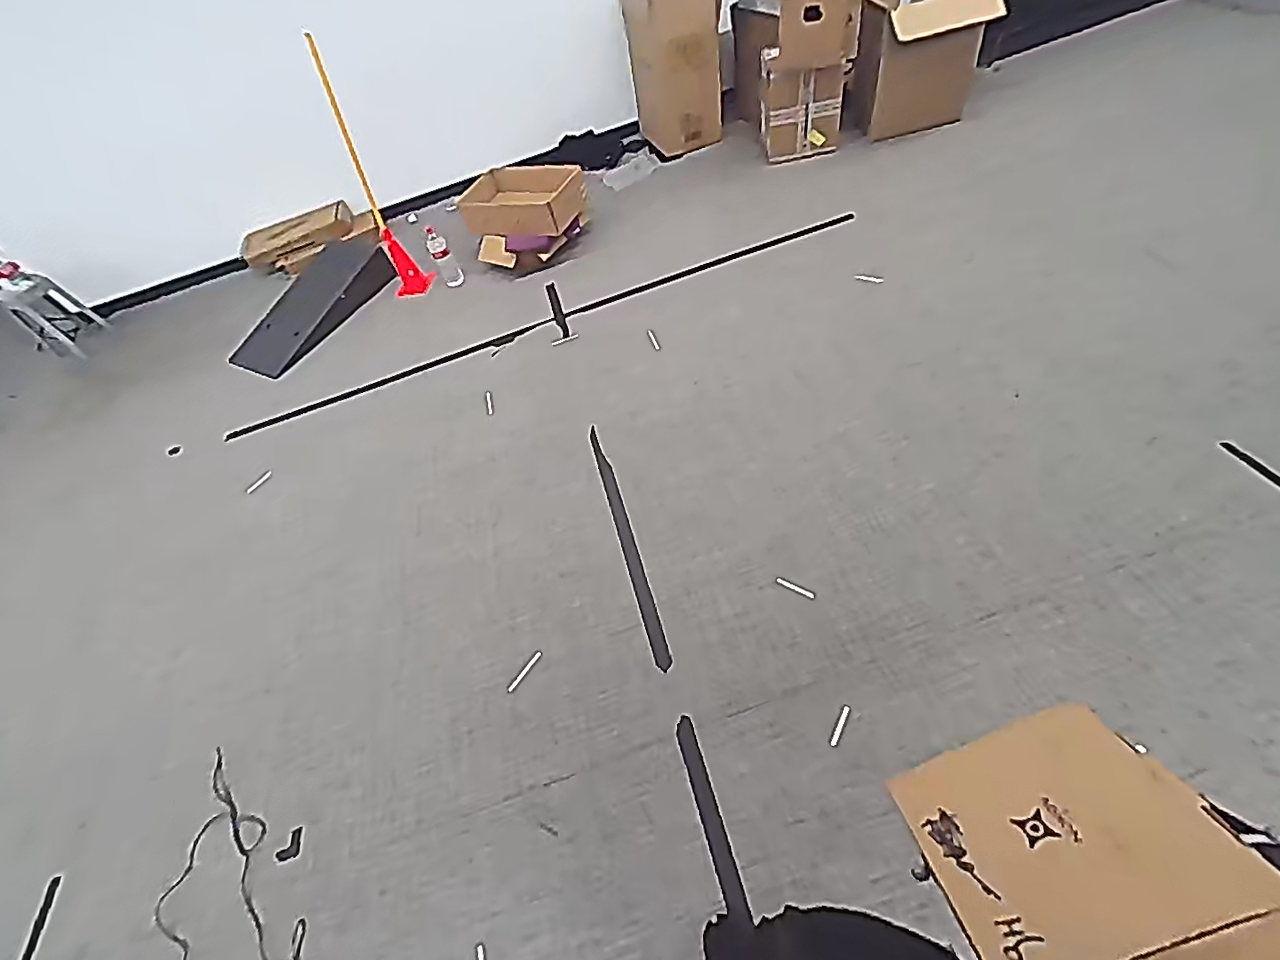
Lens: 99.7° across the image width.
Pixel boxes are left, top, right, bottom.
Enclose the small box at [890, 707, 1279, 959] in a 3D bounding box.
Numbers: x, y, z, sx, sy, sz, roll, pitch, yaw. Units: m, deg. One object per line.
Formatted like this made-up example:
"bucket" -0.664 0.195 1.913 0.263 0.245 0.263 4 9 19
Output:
"small box" 0.335 0.322 0.415 0.179 0.176 0.168 -28 14 8
